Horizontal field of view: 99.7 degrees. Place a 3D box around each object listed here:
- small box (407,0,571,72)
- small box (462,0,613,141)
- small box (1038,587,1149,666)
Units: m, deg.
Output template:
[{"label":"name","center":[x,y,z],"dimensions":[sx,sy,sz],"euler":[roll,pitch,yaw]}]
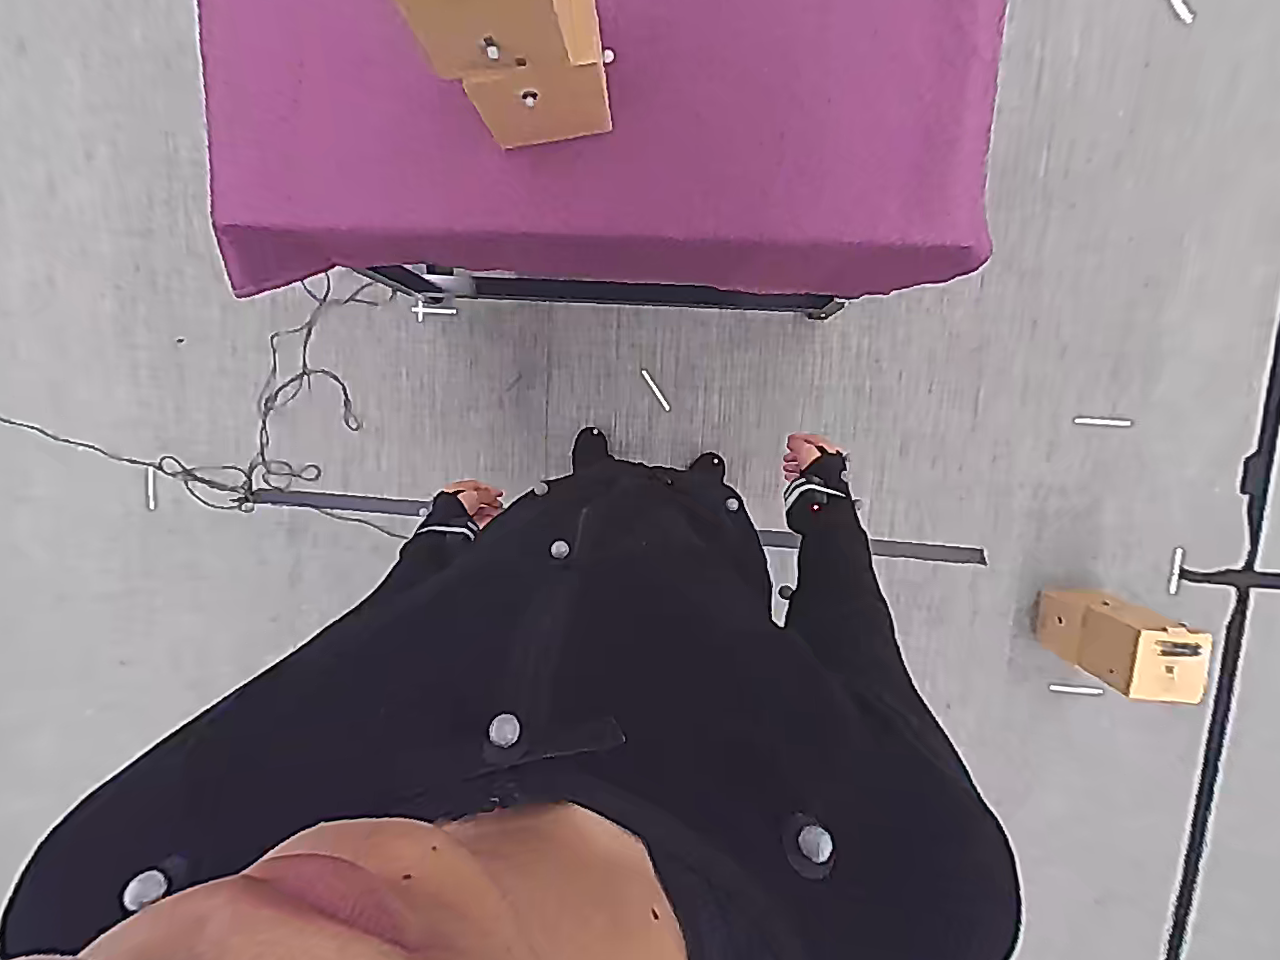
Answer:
[{"label":"small box","center":[-0.171,-0.584,0.576],"dimensions":[0.168,0.176,0.179],"euler":[-2,97,4]},{"label":"small box","center":[-0.140,-0.596,0.739],"dimensions":[0.179,0.176,0.168],"euler":[-7,97,4]},{"label":"small box","center":[1.260,0.406,1.516],"dimensions":[0.179,0.176,0.168],"euler":[0,97,3]}]
